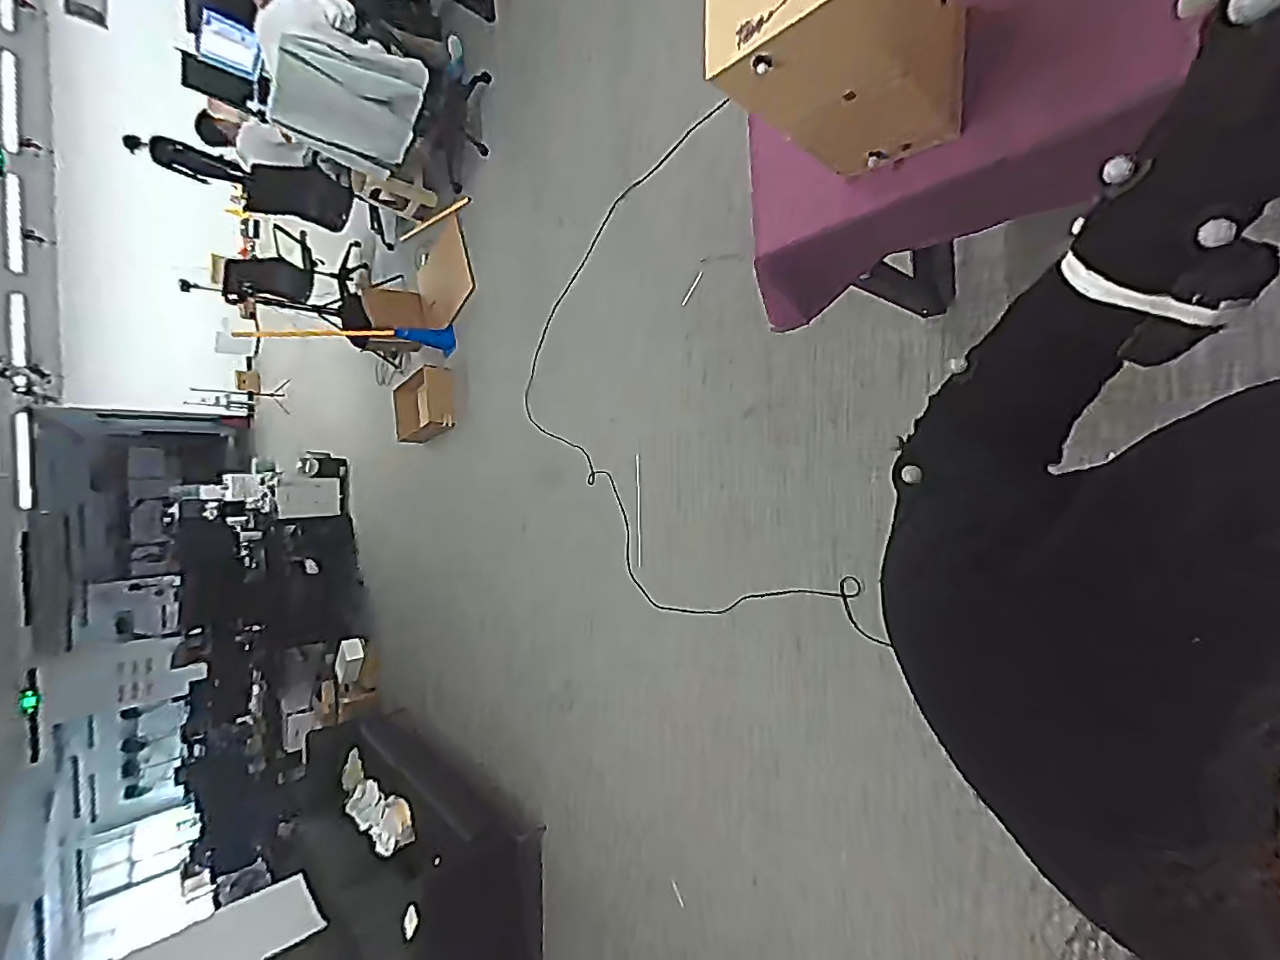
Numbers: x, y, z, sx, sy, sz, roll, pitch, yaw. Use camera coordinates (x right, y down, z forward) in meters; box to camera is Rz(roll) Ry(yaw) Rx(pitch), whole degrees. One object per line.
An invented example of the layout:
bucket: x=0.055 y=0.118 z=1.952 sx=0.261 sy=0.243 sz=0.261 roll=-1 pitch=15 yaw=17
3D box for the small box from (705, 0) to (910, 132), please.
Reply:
small box: x=0.195 y=-0.550 z=0.621 sx=0.168 sy=0.176 sz=0.179 roll=4 pitch=93 yaw=49

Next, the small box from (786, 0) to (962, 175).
small box: x=0.318 y=-0.555 z=0.732 sx=0.168 sy=0.176 sz=0.179 roll=5 pitch=95 yaw=48
